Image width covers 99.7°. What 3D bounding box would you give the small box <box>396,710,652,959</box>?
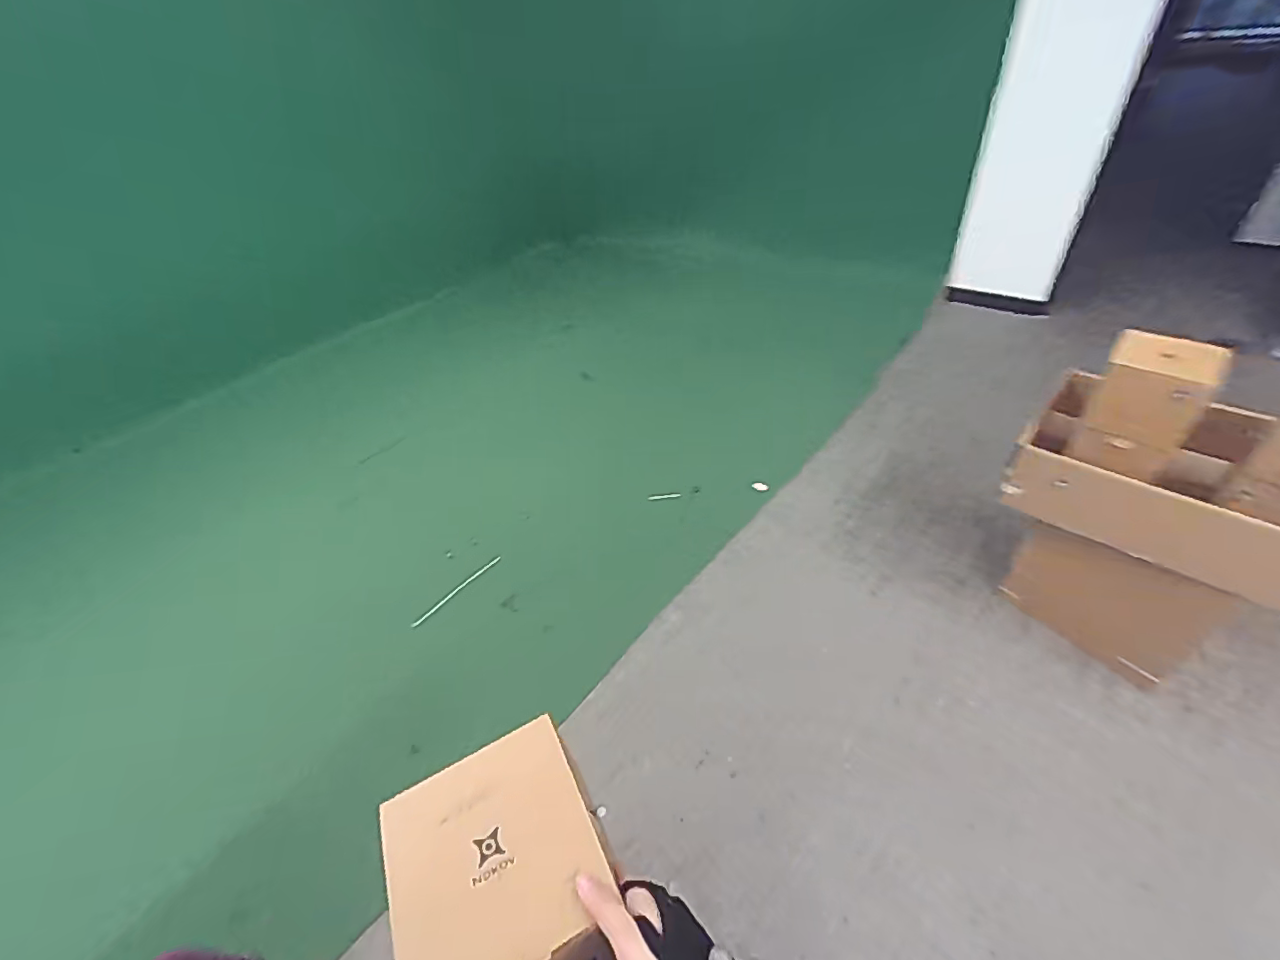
[{"bbox_3d":[-0.102,0.361,0.500,0.168,0.176,0.179,-23,41,-14],"label":"small box"}]

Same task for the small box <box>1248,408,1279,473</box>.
[{"bbox_3d":[1.299,-0.097,1.001,0.179,0.176,0.168,-35,48,-23],"label":"small box"}]

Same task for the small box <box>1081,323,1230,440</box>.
[{"bbox_3d":[1.102,-0.212,1.169,0.179,0.176,0.168,28,55,33],"label":"small box"}]
